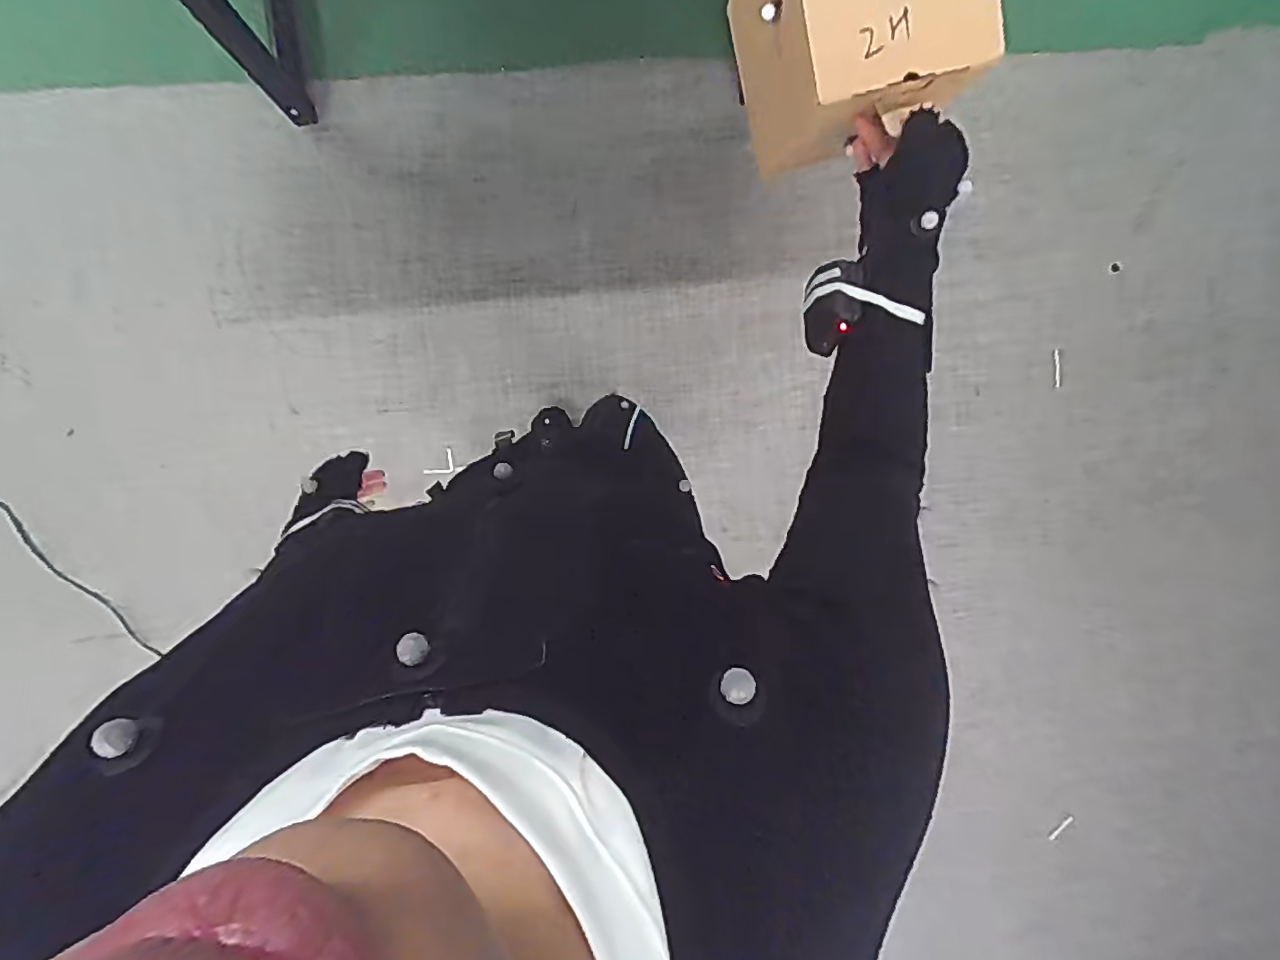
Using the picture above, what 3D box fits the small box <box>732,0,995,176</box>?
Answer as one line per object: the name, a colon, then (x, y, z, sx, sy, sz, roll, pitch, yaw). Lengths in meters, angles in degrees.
small box: (0.198, -0.428, 0.519, 0.168, 0.176, 0.179, -14, 102, -2)
